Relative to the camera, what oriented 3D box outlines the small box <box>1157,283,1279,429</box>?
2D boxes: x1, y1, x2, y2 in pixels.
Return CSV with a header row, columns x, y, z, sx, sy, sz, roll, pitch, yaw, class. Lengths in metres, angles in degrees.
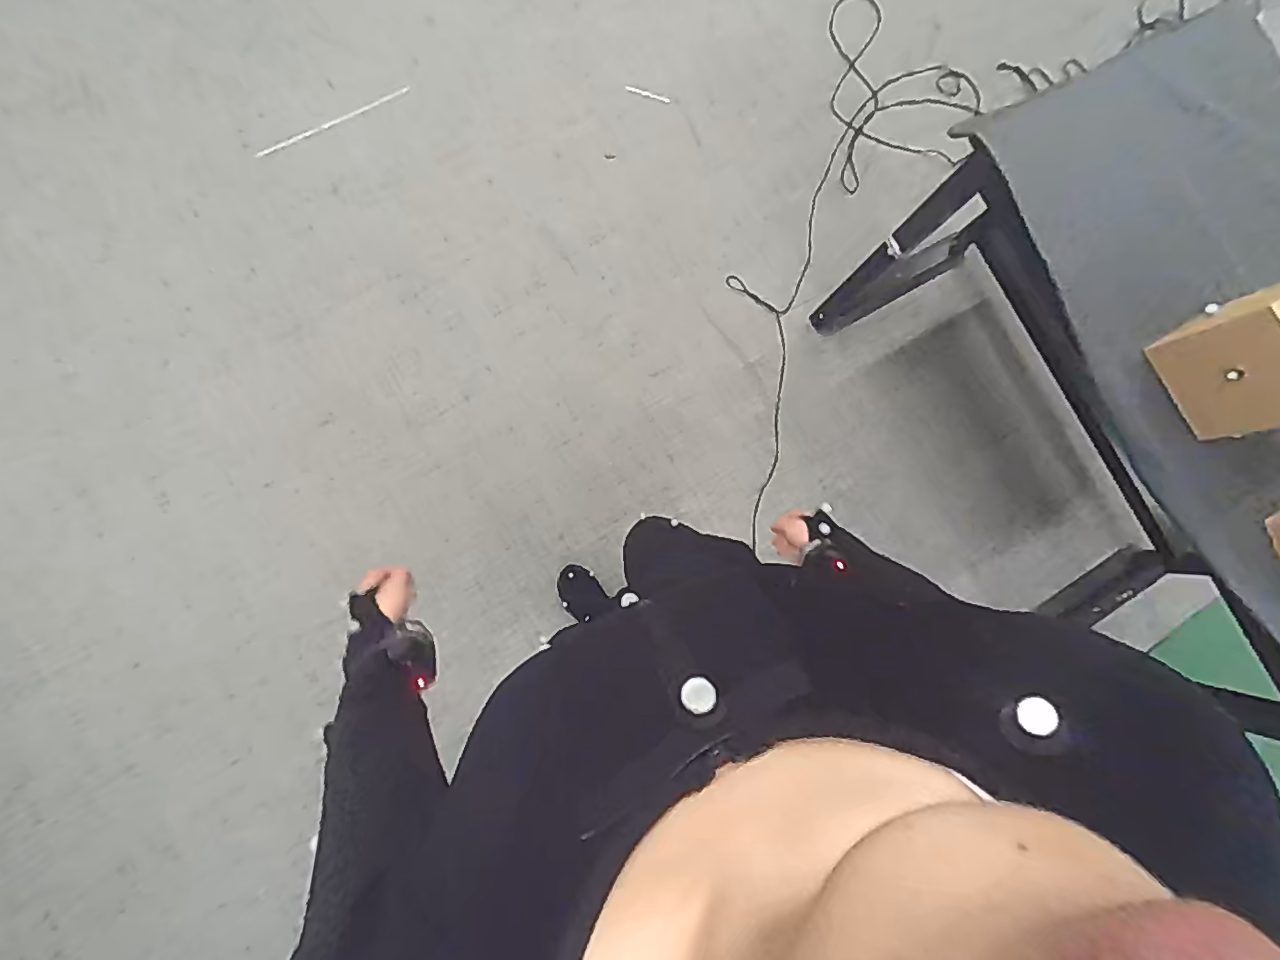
x,y,z,sx,sy,sz,roll,pitch,yaw,class
0.940,-0.189,0.794,0.168,0.176,0.179,-28,85,-9,small box
